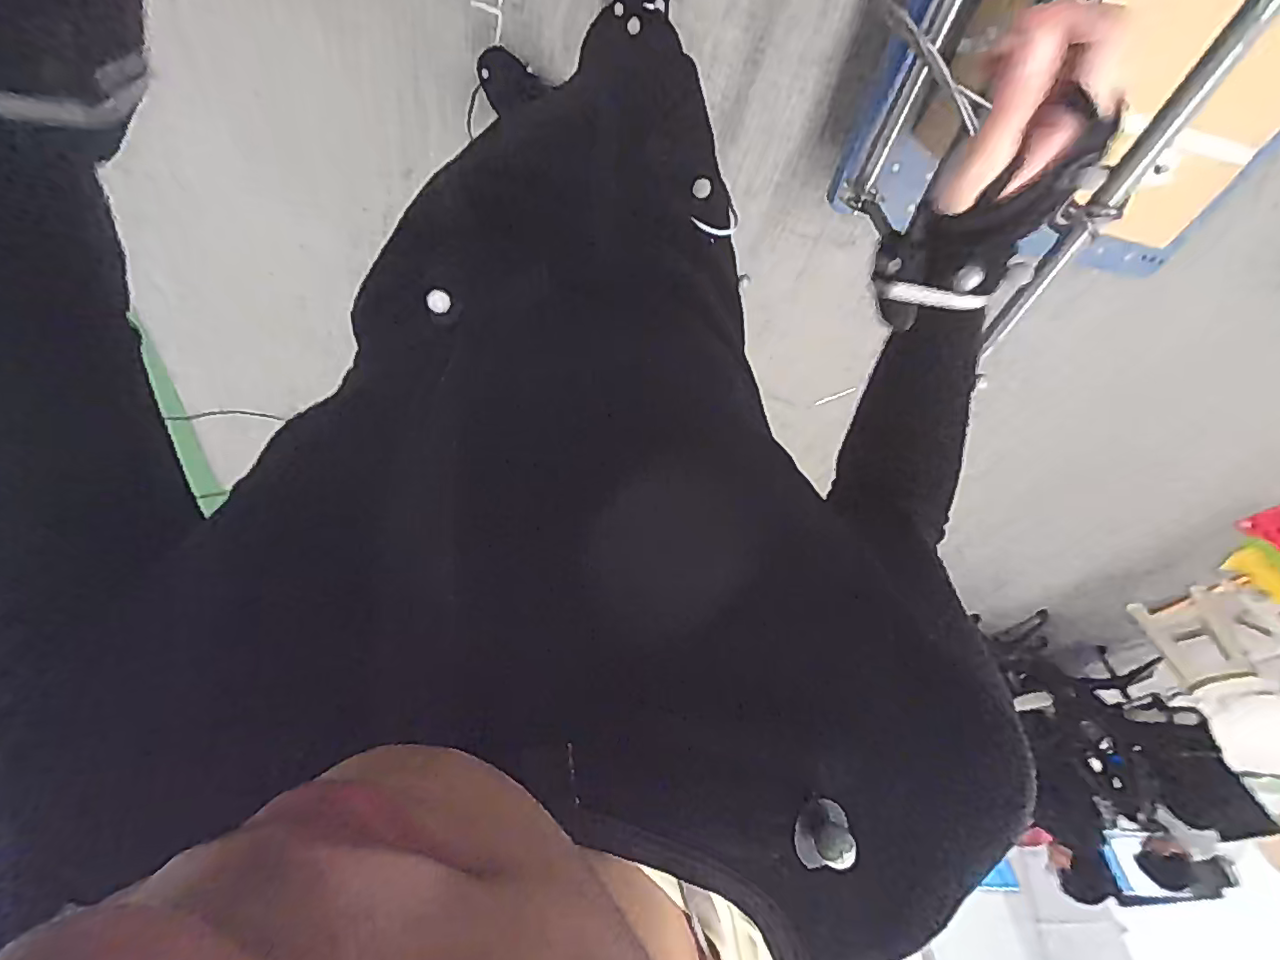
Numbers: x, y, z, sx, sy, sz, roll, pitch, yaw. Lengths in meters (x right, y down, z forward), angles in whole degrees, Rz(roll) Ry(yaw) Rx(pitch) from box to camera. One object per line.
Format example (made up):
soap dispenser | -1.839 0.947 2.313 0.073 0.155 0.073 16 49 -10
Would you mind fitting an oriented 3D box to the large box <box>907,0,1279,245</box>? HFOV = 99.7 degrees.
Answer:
large box | 0.777 -0.668 0.954 0.408 0.320 0.320 8 138 -11
